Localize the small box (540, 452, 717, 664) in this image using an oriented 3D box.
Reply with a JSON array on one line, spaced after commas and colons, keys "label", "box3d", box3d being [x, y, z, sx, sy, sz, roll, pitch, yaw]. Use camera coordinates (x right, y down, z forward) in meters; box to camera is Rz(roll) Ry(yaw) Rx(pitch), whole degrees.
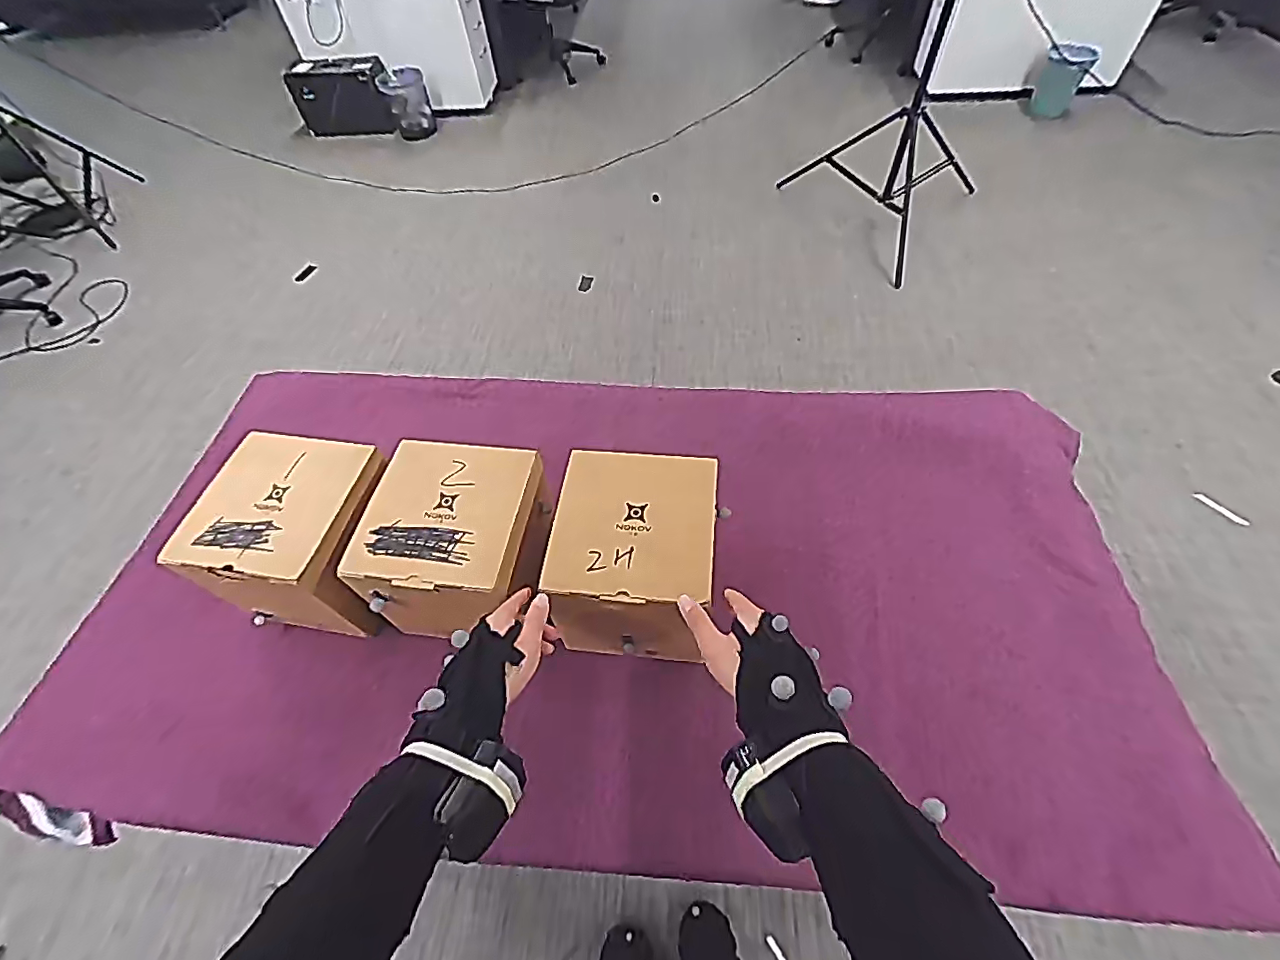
[{"label": "small box", "box3d": [-0.002, 0.091, 0.619, 0.168, 0.176, 0.179, 3, 54, 7]}]
